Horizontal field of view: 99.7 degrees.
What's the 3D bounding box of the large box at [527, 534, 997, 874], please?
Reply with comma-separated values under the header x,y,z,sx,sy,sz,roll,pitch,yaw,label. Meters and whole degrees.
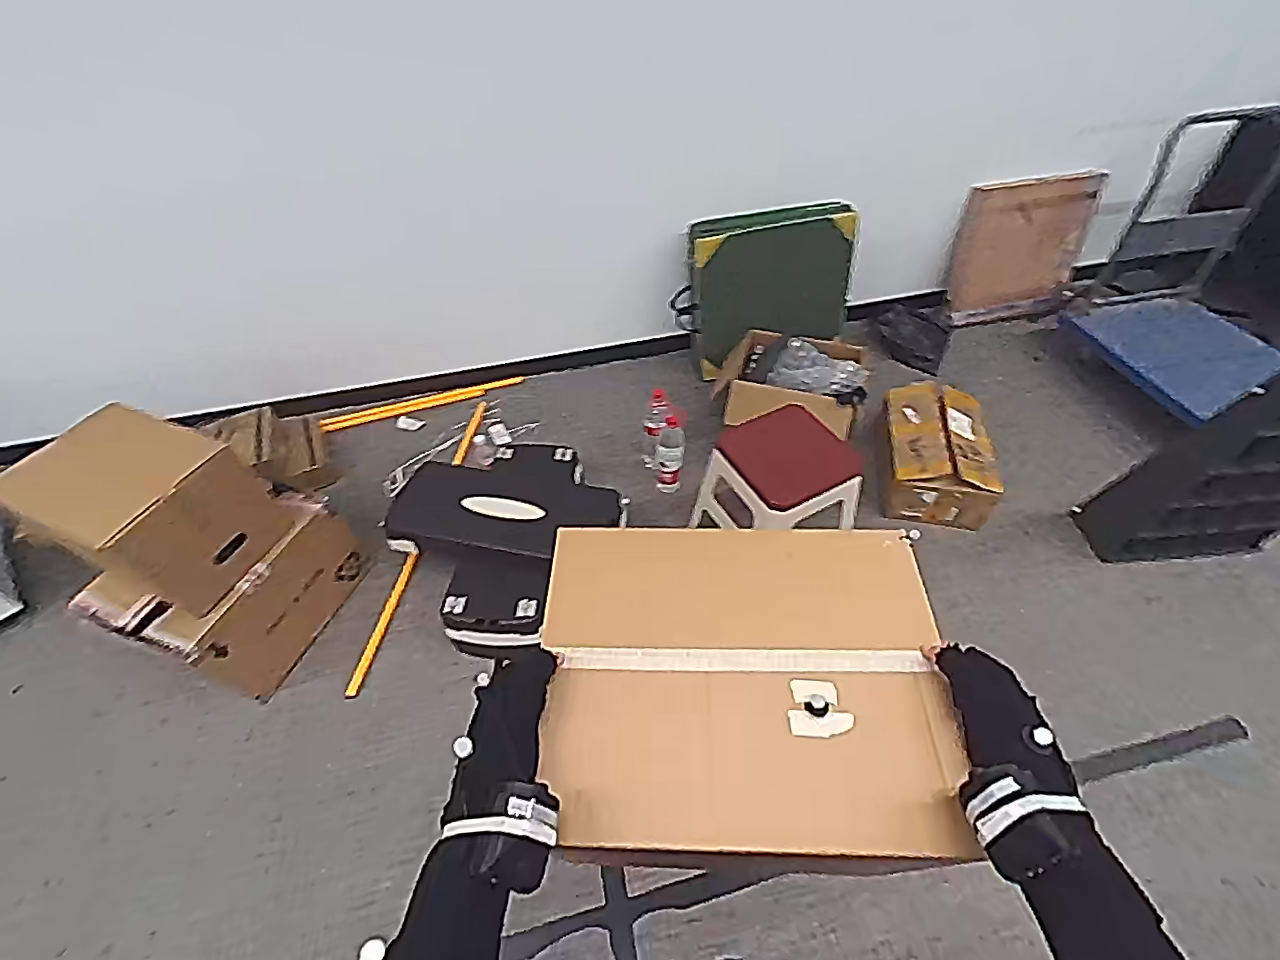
x,y,z,sx,sy,sz,roll,pitch,yaw,label
0.106,0.278,0.660,0.408,0.320,0.320,1,52,3,large box
